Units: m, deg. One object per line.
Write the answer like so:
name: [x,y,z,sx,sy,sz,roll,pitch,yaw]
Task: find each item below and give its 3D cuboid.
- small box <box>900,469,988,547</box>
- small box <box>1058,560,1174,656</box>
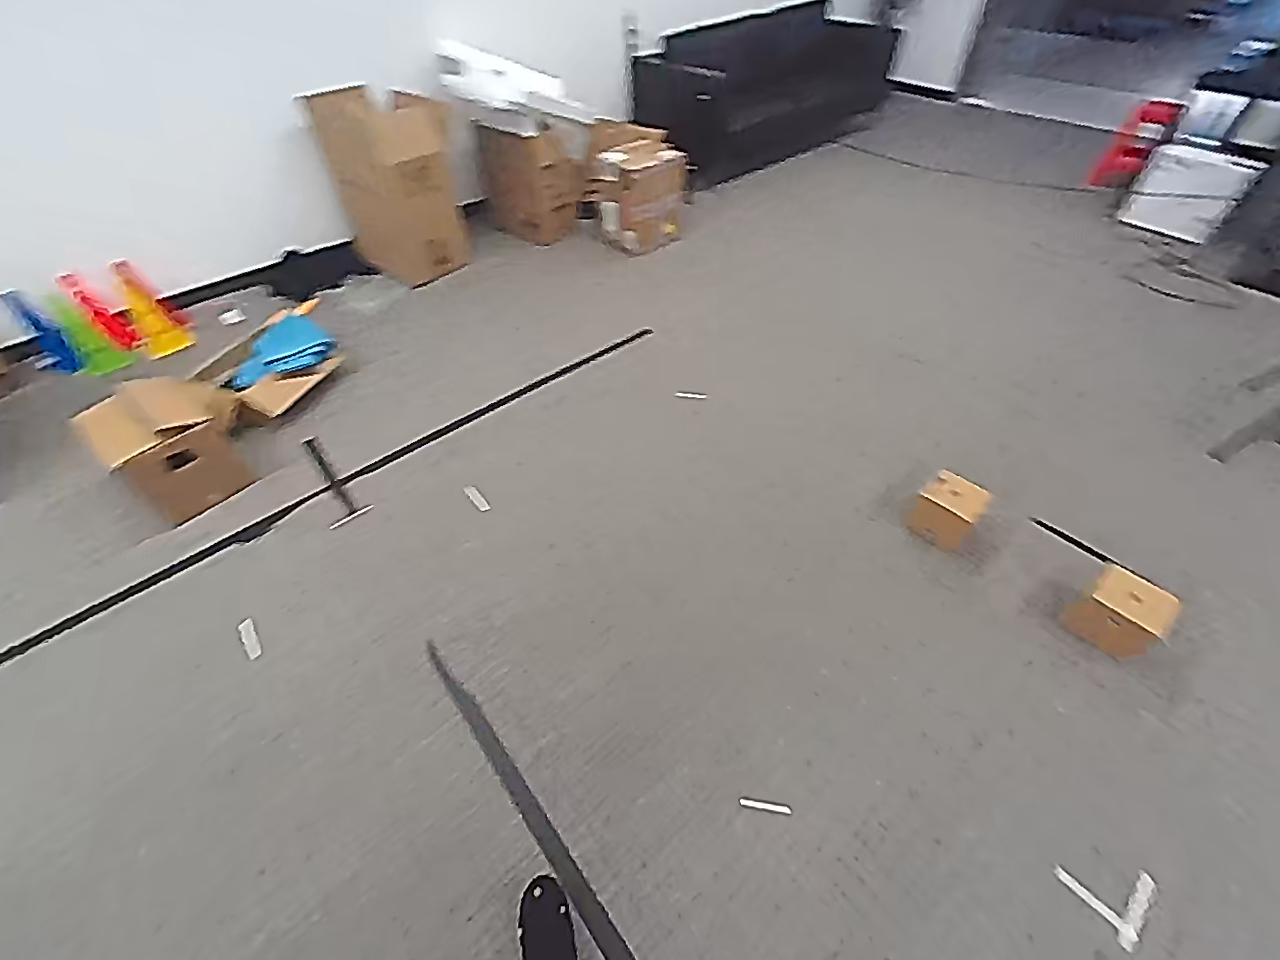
small box: [1.022,0.102,1.828,0.168,0.176,0.179,-35,55,-26]
small box: [1.367,0.375,1.565,0.168,0.176,0.179,-36,57,-25]
